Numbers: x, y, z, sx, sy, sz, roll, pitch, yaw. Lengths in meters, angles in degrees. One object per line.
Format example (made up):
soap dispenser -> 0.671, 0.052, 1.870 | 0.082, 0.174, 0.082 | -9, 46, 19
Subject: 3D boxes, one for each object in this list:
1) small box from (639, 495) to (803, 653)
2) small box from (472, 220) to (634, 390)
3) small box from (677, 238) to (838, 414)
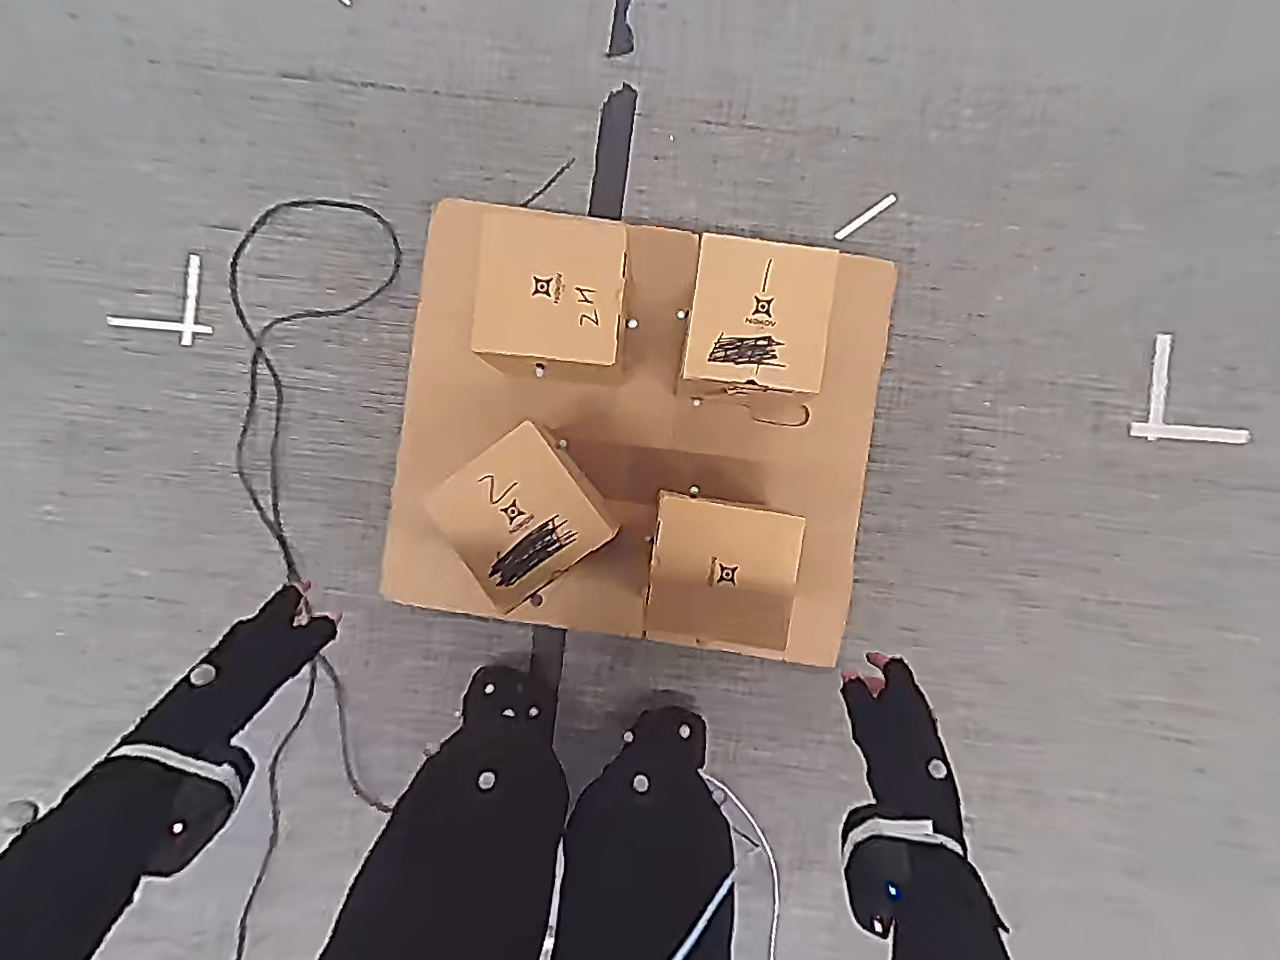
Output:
small box -> 0.099, 0.114, 0.726 | 0.179, 0.176, 0.168 | 9, 91, 2
small box -> -0.105, -0.220, 0.721 | 0.179, 0.176, 0.168 | 6, 91, 0
small box -> 0.144, -0.191, 0.722 | 0.168, 0.176, 0.179 | 9, 89, 1
